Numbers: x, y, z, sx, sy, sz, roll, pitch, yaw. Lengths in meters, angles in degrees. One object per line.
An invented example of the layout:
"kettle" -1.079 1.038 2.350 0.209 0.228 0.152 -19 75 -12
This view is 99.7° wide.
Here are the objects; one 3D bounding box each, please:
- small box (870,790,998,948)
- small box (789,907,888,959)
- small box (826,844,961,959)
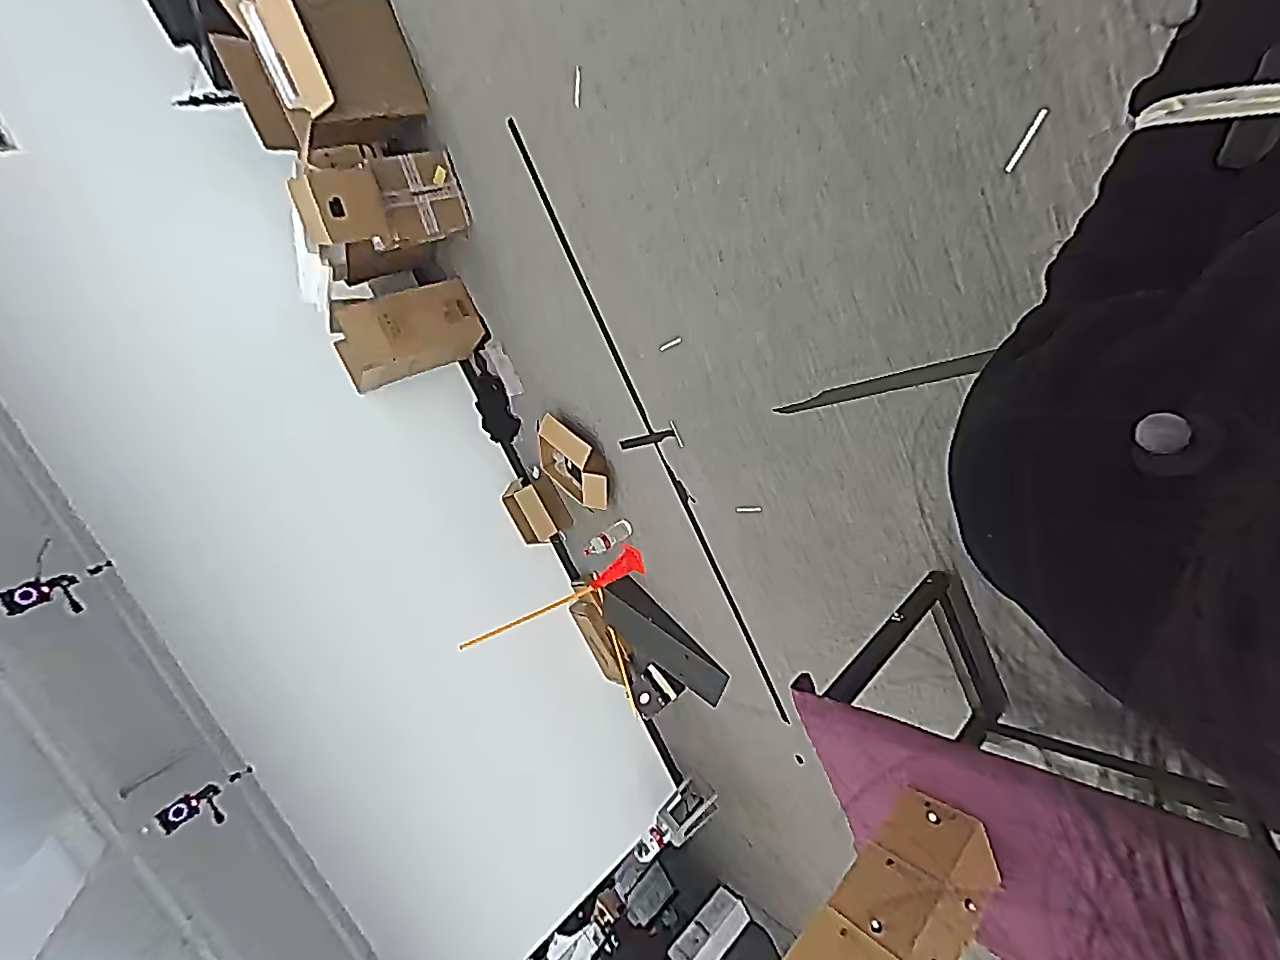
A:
"small box" 0.632 0.820 1.158 0.168 0.176 0.179 -3 113 57
"small box" 0.382 0.955 0.995 0.168 0.176 0.179 0 117 56
"small box" 0.508 0.888 1.076 0.168 0.176 0.179 0 117 56
